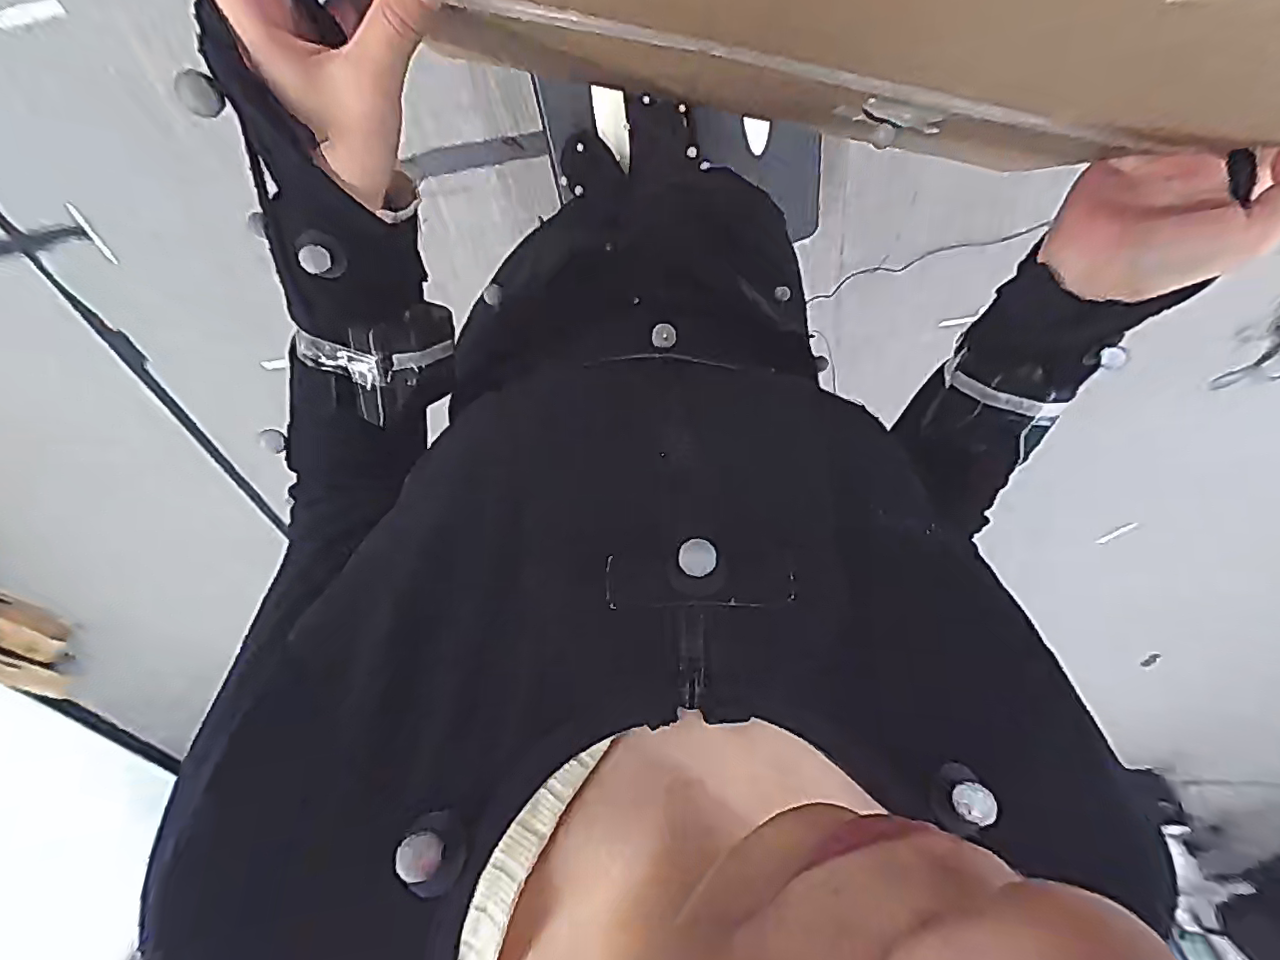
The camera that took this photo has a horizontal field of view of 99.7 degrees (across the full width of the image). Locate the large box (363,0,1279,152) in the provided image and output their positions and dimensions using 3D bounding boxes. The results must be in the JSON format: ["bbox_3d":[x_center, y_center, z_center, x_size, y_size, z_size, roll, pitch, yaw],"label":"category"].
[{"bbox_3d":[0.083,-0.322,0.161,0.408,0.320,0.320,7,117,-5],"label":"large box"}]
